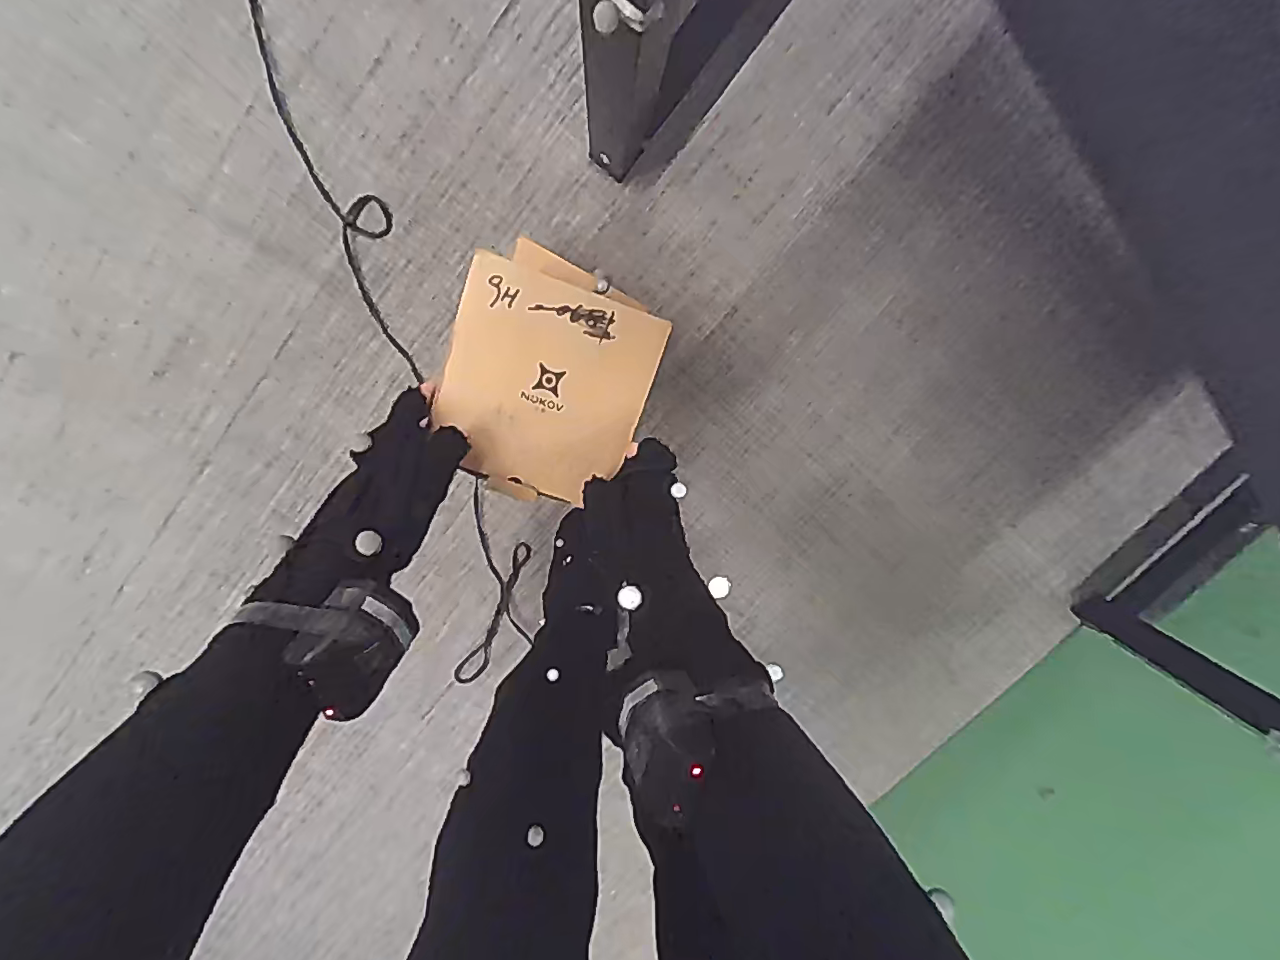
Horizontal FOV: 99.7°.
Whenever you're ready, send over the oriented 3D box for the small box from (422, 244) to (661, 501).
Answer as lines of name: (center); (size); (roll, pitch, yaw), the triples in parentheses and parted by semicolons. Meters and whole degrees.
small box: (-0.088, -0.101, 0.528); (0.168, 0.176, 0.179); (16, 102, -7)
